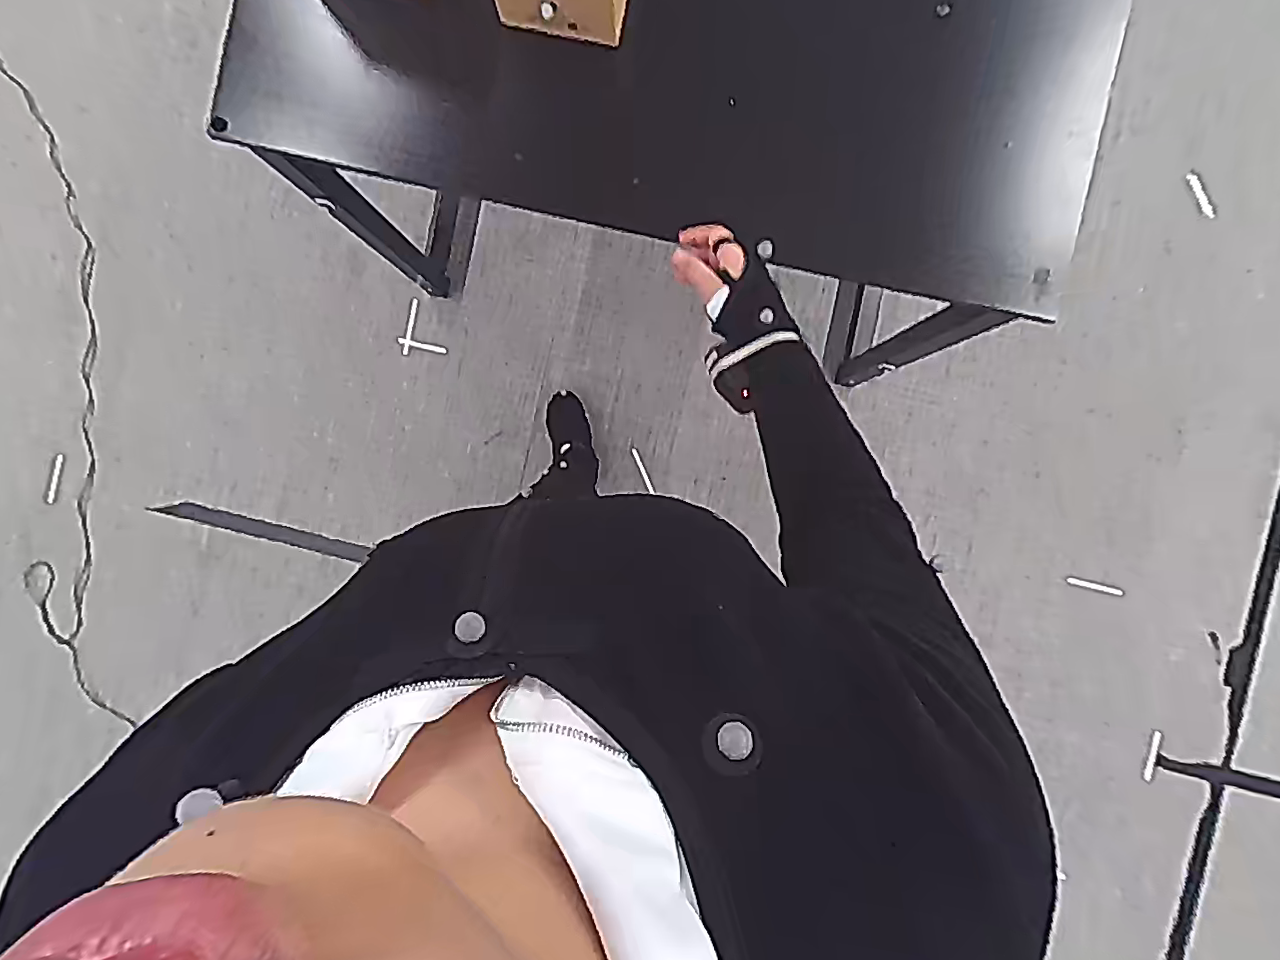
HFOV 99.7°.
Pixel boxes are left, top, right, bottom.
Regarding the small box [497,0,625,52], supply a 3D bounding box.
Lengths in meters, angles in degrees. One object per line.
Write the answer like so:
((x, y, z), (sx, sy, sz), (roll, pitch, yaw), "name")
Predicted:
((-0.099, -0.693, 0.671), (0.168, 0.176, 0.179), (12, 92, 0), "small box")
